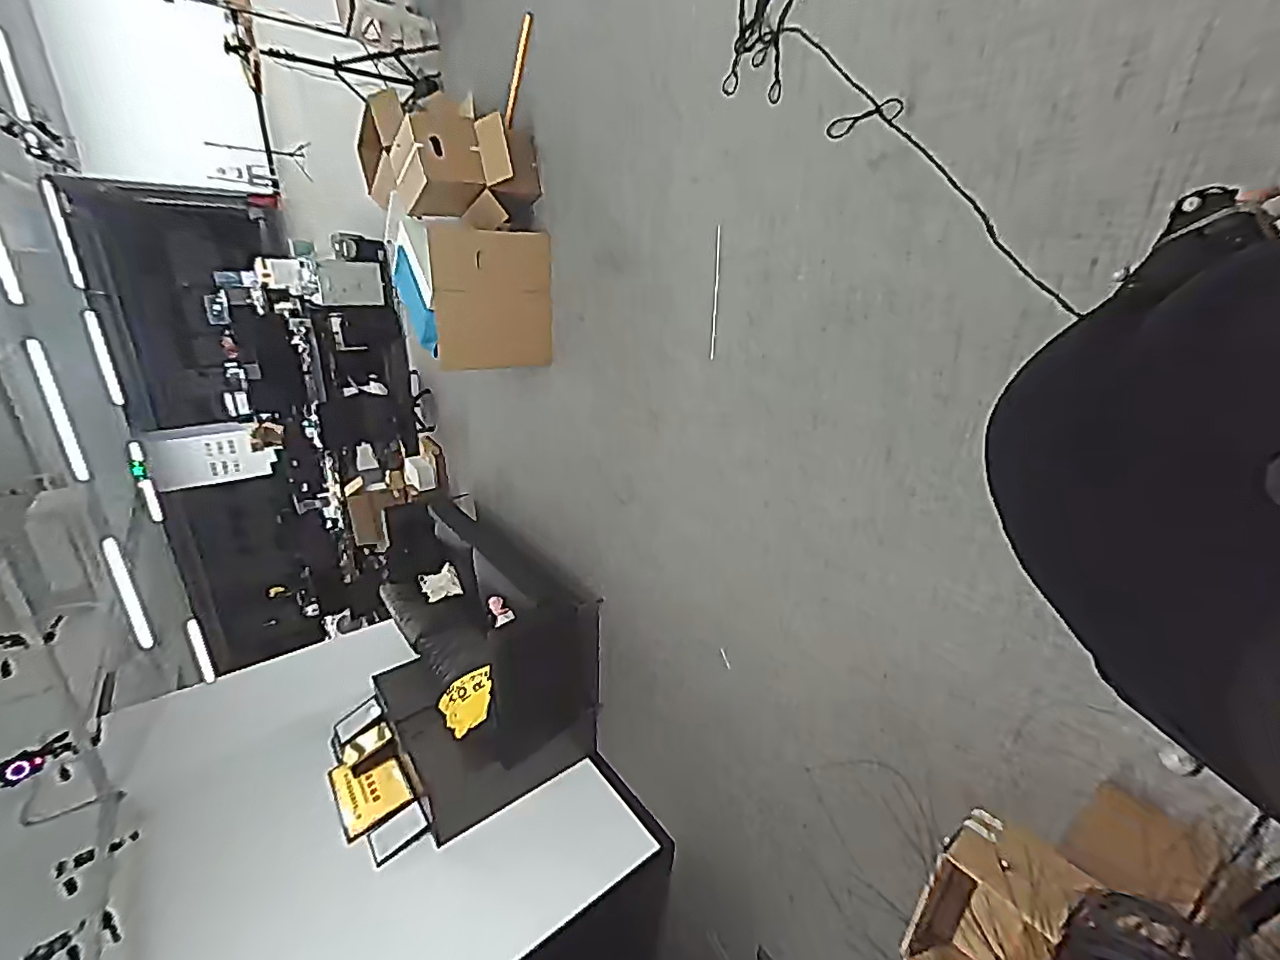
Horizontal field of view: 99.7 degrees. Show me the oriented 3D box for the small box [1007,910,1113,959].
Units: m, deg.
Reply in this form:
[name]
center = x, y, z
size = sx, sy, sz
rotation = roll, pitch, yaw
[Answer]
[small box]
center = 0.814, 0.994, 1.037
size = 0.168, 0.176, 0.179
rotation = 11, 110, 51
